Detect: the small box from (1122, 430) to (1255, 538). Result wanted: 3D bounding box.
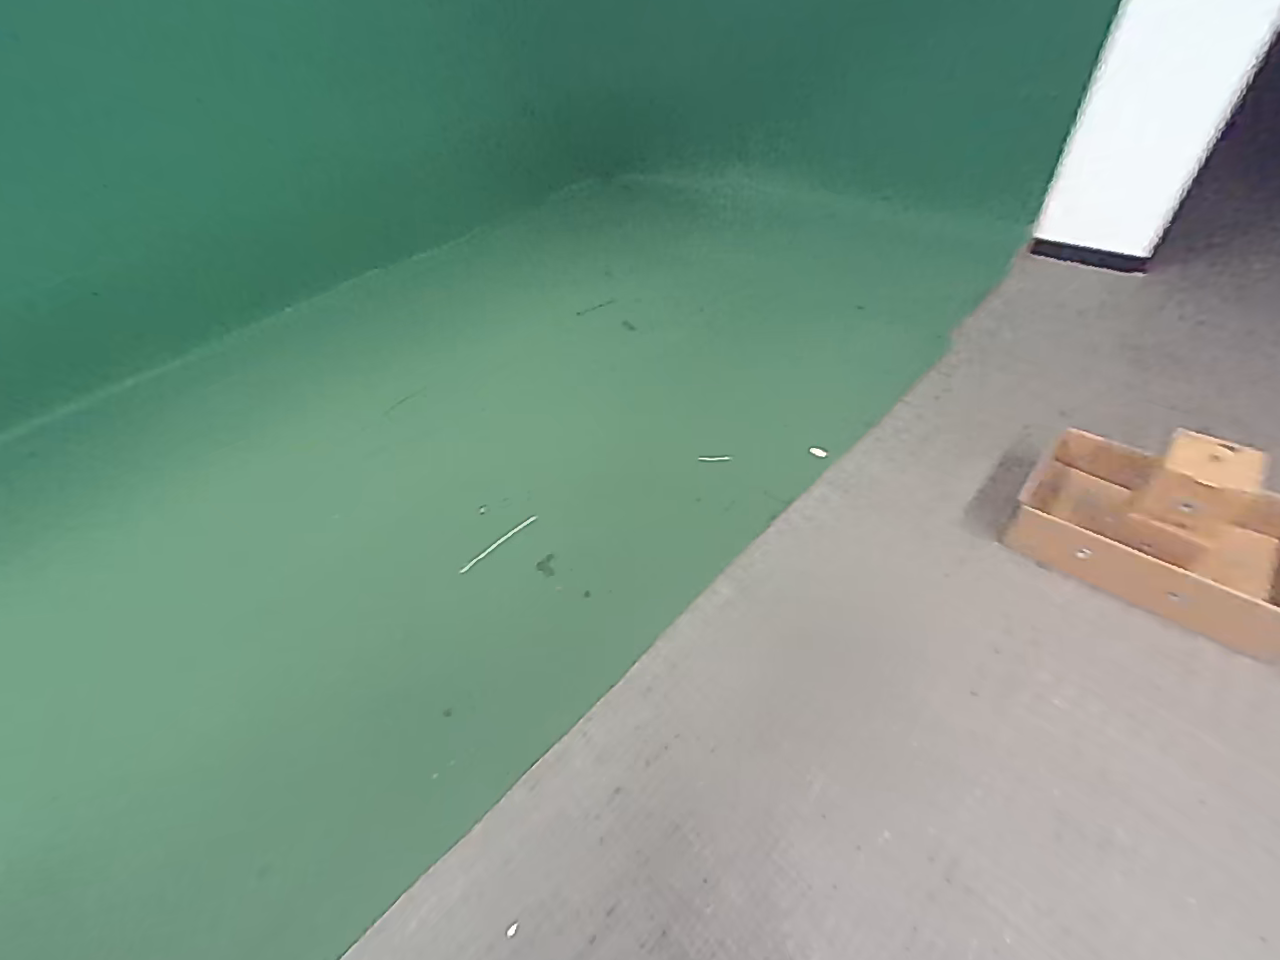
[{"bbox_3d":[1.351,0.012,1.344,0.168,0.176,0.179,30,58,32],"label":"small box"}]

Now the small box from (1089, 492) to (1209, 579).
[{"bbox_3d":[1.363,0.138,1.448,0.179,0.176,0.168,30,57,31],"label":"small box"}]
